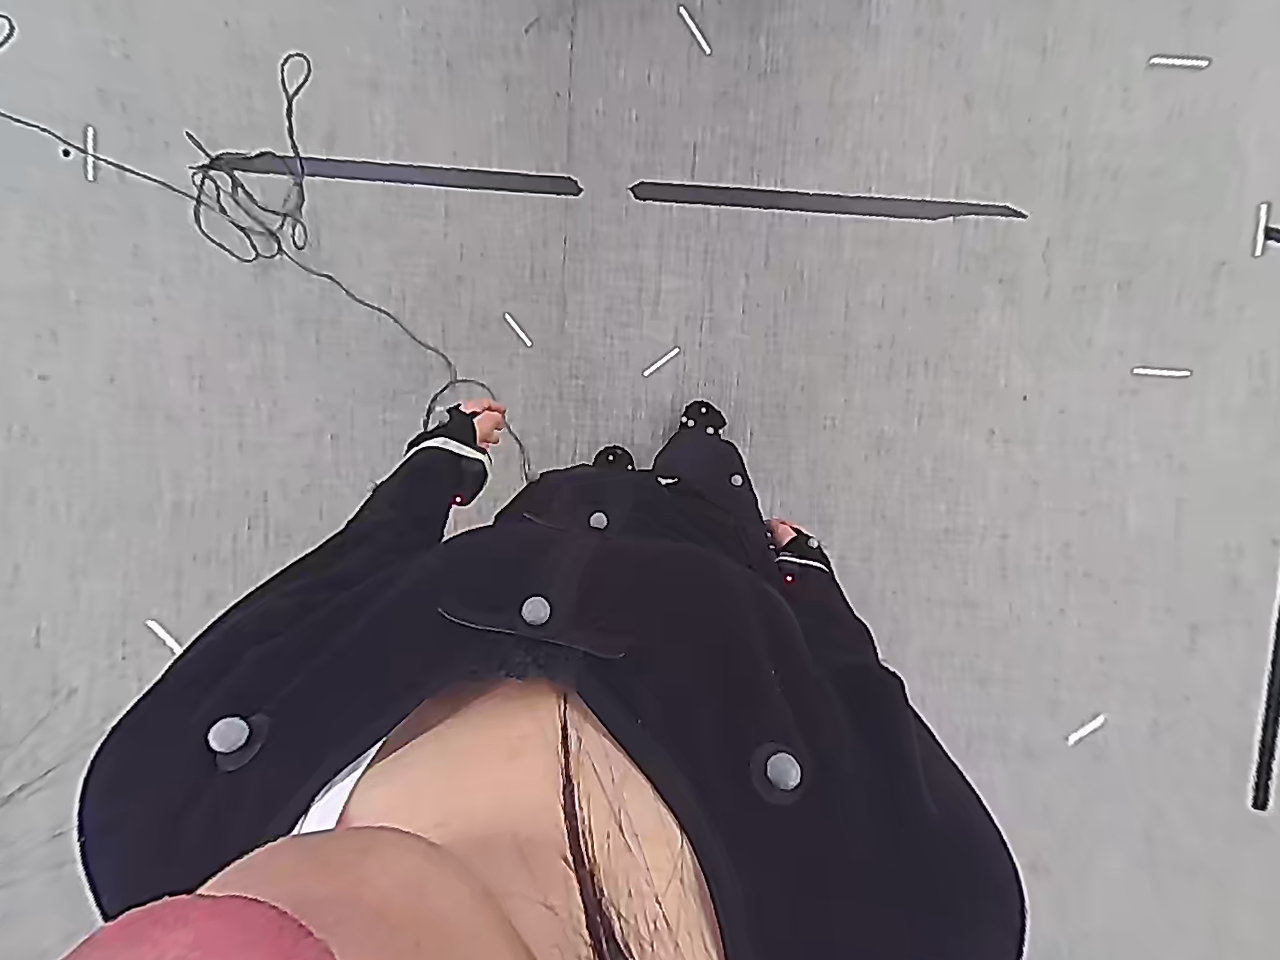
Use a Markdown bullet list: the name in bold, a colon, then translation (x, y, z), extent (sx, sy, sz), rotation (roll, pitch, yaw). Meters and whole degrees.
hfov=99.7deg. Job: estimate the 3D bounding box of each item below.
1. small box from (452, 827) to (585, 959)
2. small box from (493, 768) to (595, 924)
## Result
- **small box**: translation (-0.177, 0.661, 0.811), extent (0.168, 0.176, 0.179), rotation (6, 95, -1)
- **small box**: translation (-0.175, 0.653, 0.975), extent (0.168, 0.176, 0.179), rotation (8, 93, 0)
